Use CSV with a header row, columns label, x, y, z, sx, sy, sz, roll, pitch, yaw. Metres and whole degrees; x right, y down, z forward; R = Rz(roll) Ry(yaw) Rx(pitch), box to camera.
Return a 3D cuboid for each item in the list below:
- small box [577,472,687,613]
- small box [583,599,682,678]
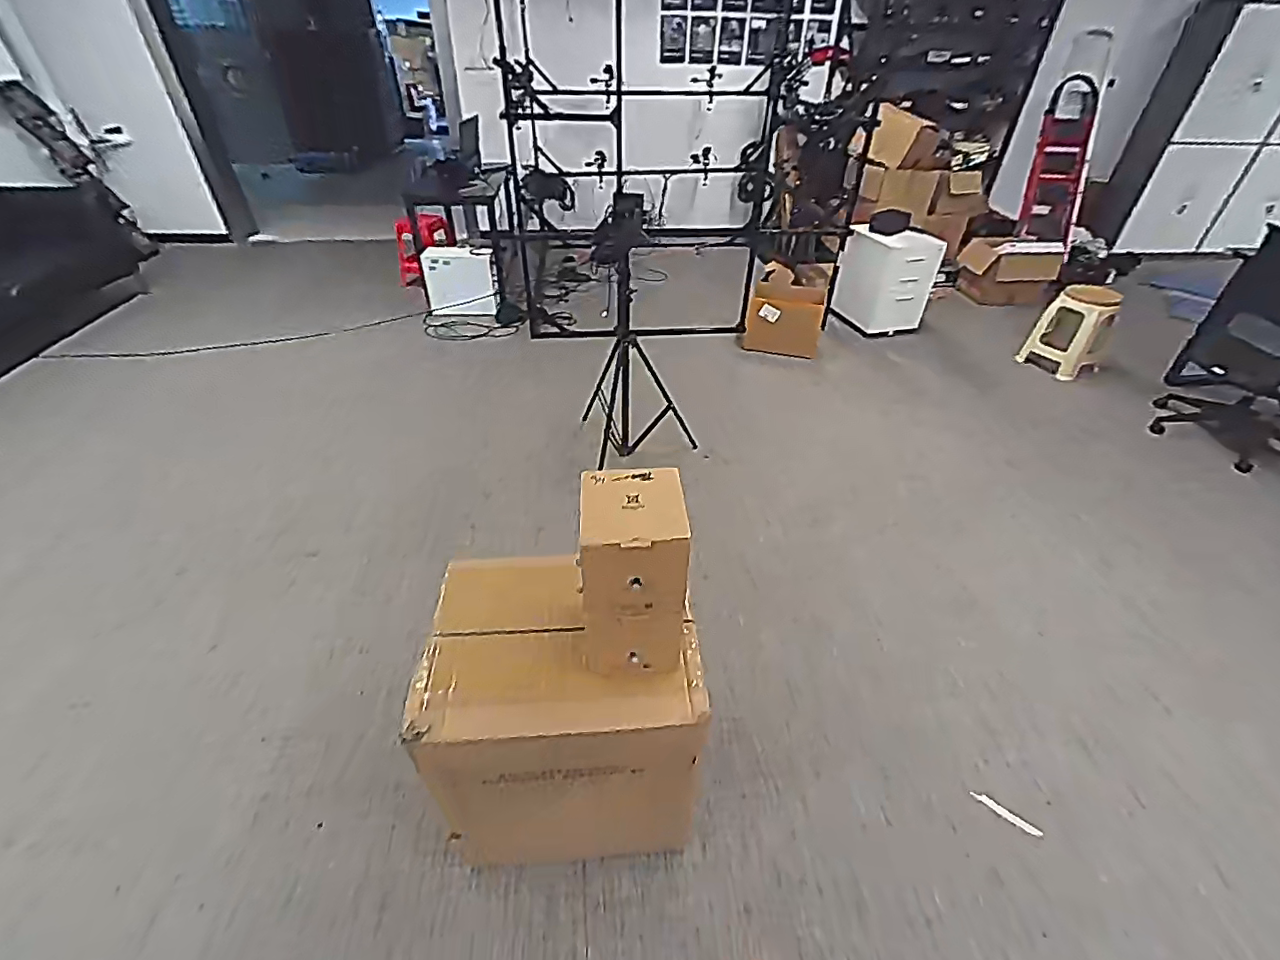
label,x,y,z,sx,sy,sz,roll,pitch,yaw
small box,-0.014,0.108,0.902,0.168,0.176,0.179,-3,39,-3
small box,-0.019,0.239,1.001,0.168,0.176,0.179,-4,39,-4
